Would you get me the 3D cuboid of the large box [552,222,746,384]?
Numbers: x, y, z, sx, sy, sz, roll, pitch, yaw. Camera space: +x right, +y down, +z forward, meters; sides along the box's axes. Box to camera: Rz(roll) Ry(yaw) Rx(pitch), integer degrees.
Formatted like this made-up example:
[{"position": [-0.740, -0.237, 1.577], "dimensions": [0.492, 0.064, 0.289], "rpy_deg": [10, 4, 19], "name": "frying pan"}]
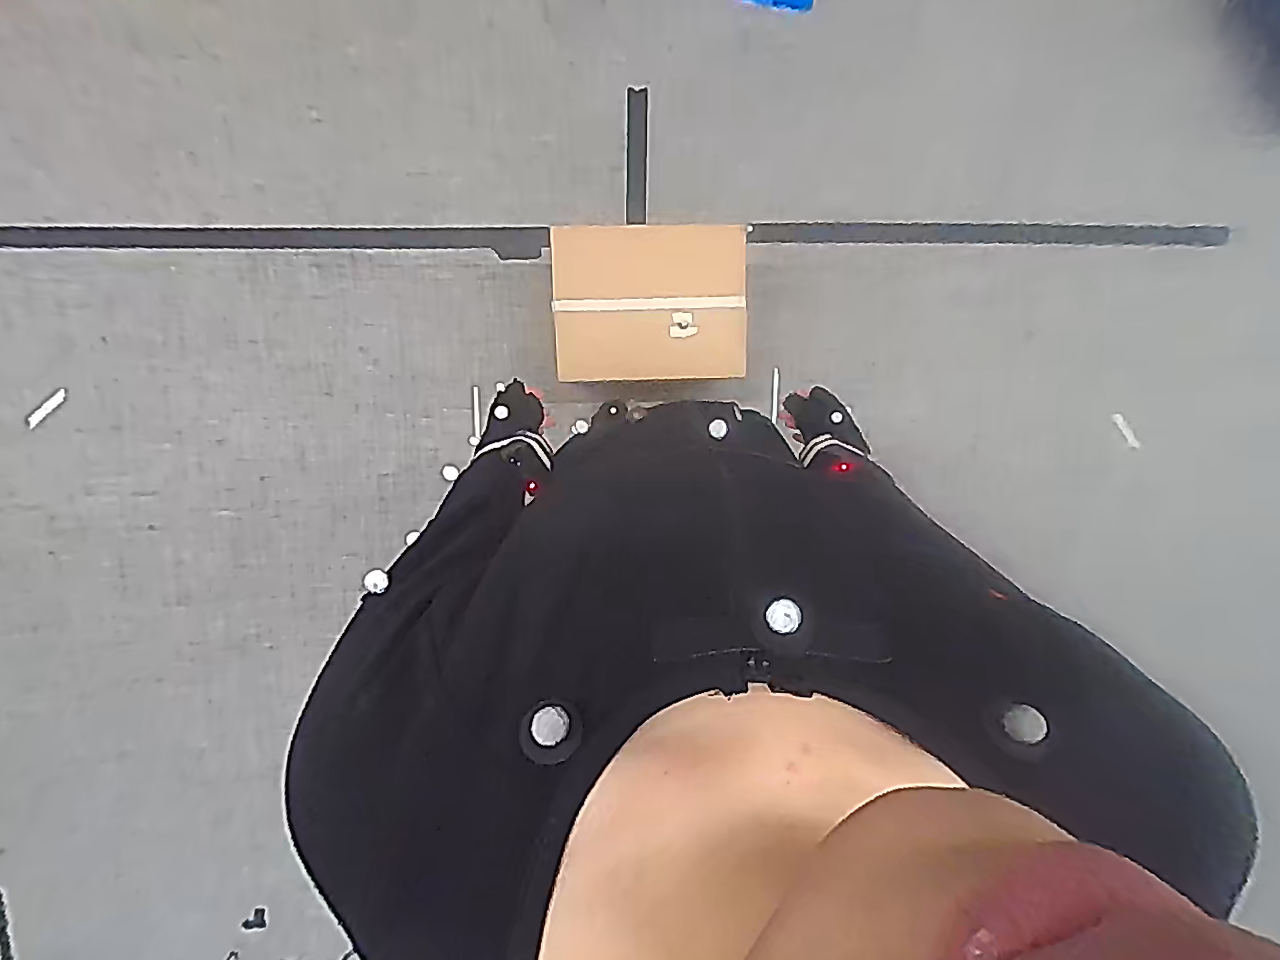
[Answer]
[{"position": [0.013, -0.394, 1.274], "dimensions": [0.408, 0.320, 0.320], "rpy_deg": [-2, 100, -4], "name": "large box"}]
